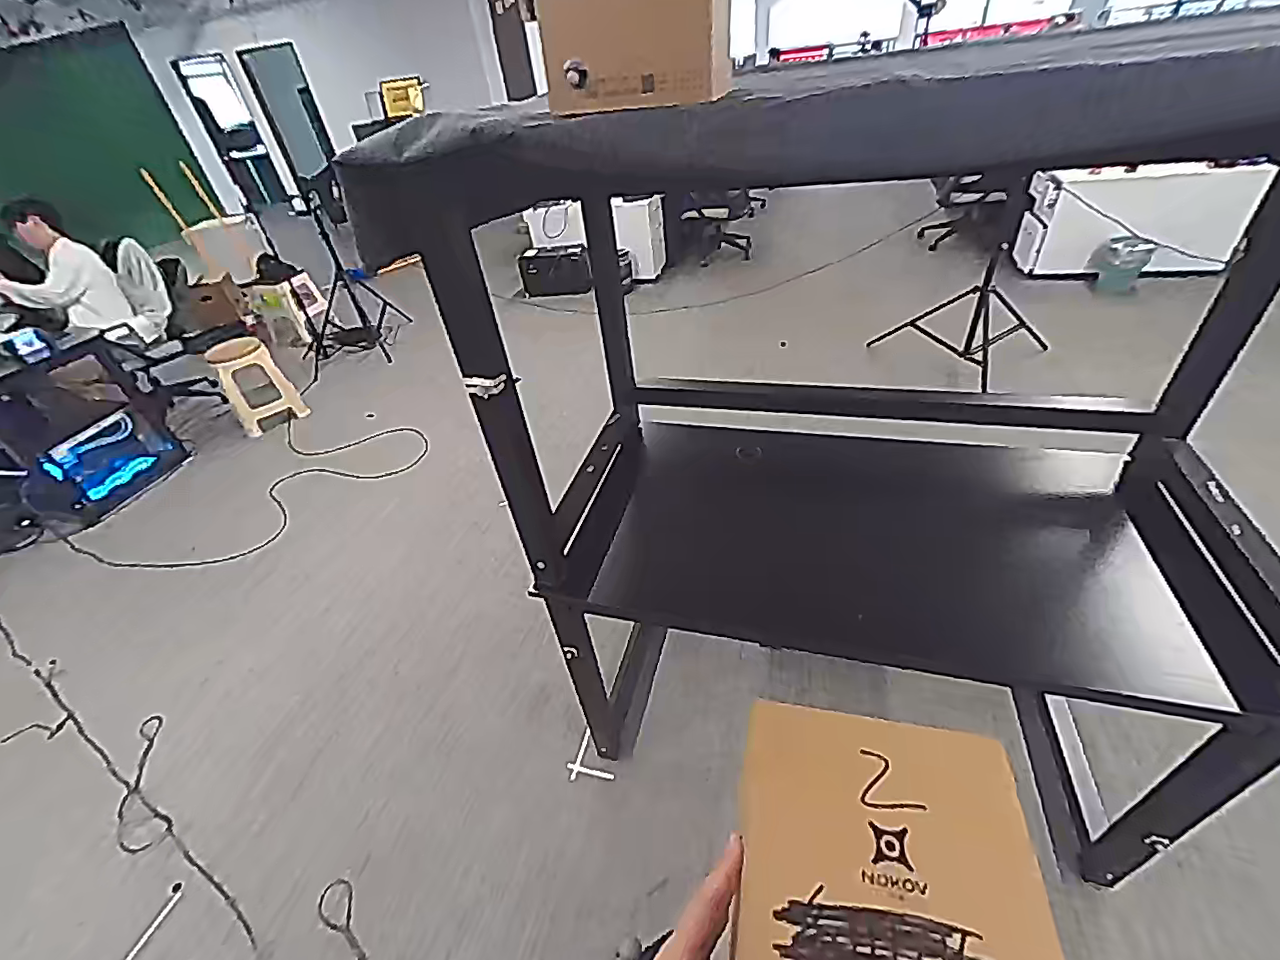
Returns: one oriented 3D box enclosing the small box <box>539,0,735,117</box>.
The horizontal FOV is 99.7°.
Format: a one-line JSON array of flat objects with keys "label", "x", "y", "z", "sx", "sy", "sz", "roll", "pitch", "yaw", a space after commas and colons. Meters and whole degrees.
[{"label": "small box", "x": 0.005, "y": -0.473, "z": 0.544, "sx": 0.168, "sy": 0.176, "sz": 0.179, "roll": 5, "pitch": 38, "yaw": 14}]
